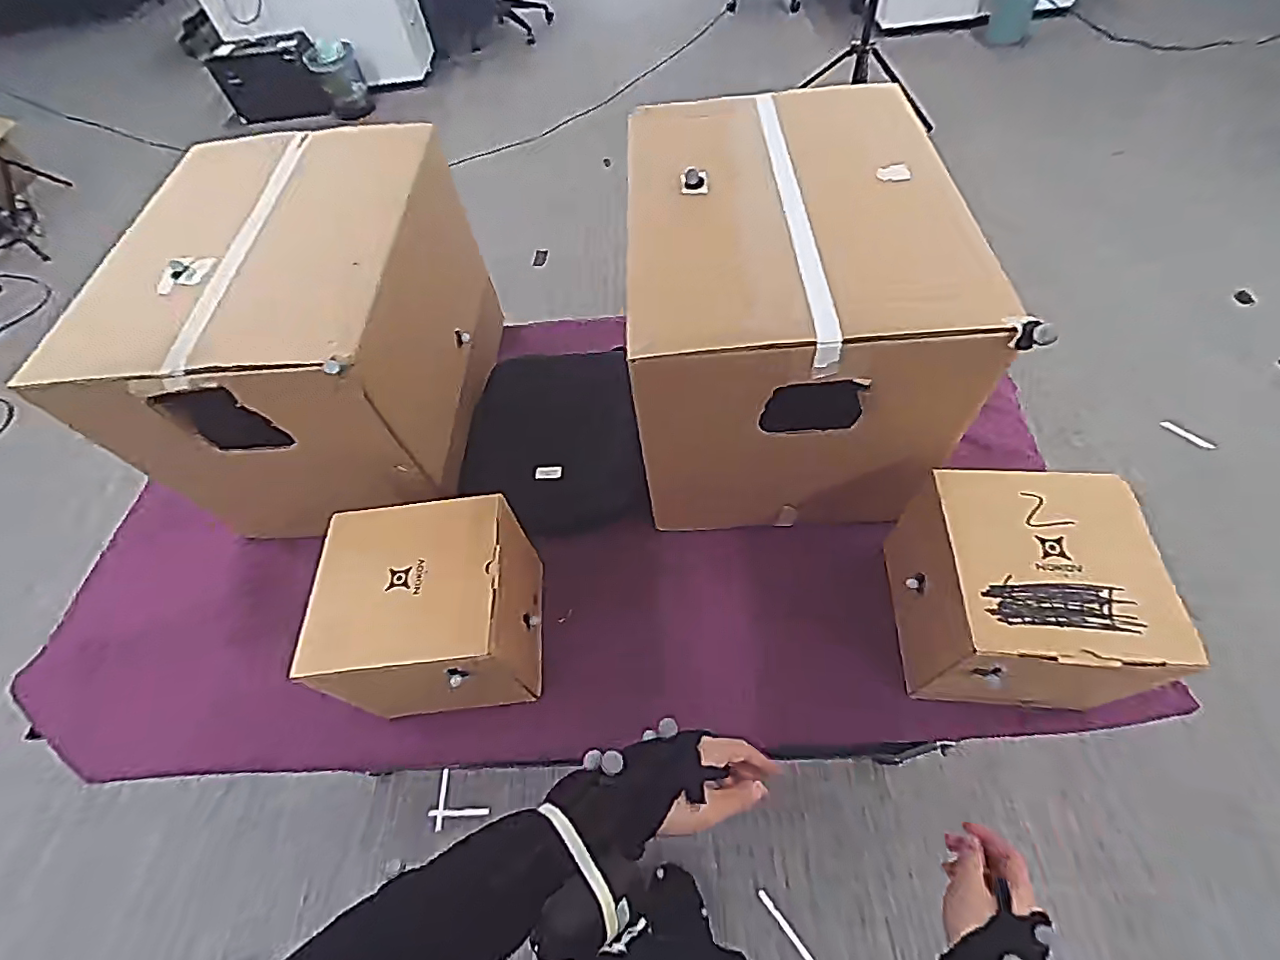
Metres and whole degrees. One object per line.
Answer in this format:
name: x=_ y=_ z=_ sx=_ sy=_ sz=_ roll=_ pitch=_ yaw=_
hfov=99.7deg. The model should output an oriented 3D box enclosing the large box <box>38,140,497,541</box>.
large box: x=-0.393 y=-0.169 z=0.708 sx=0.320 sy=0.320 sz=0.408 roll=-4 pitch=60 yaw=3
